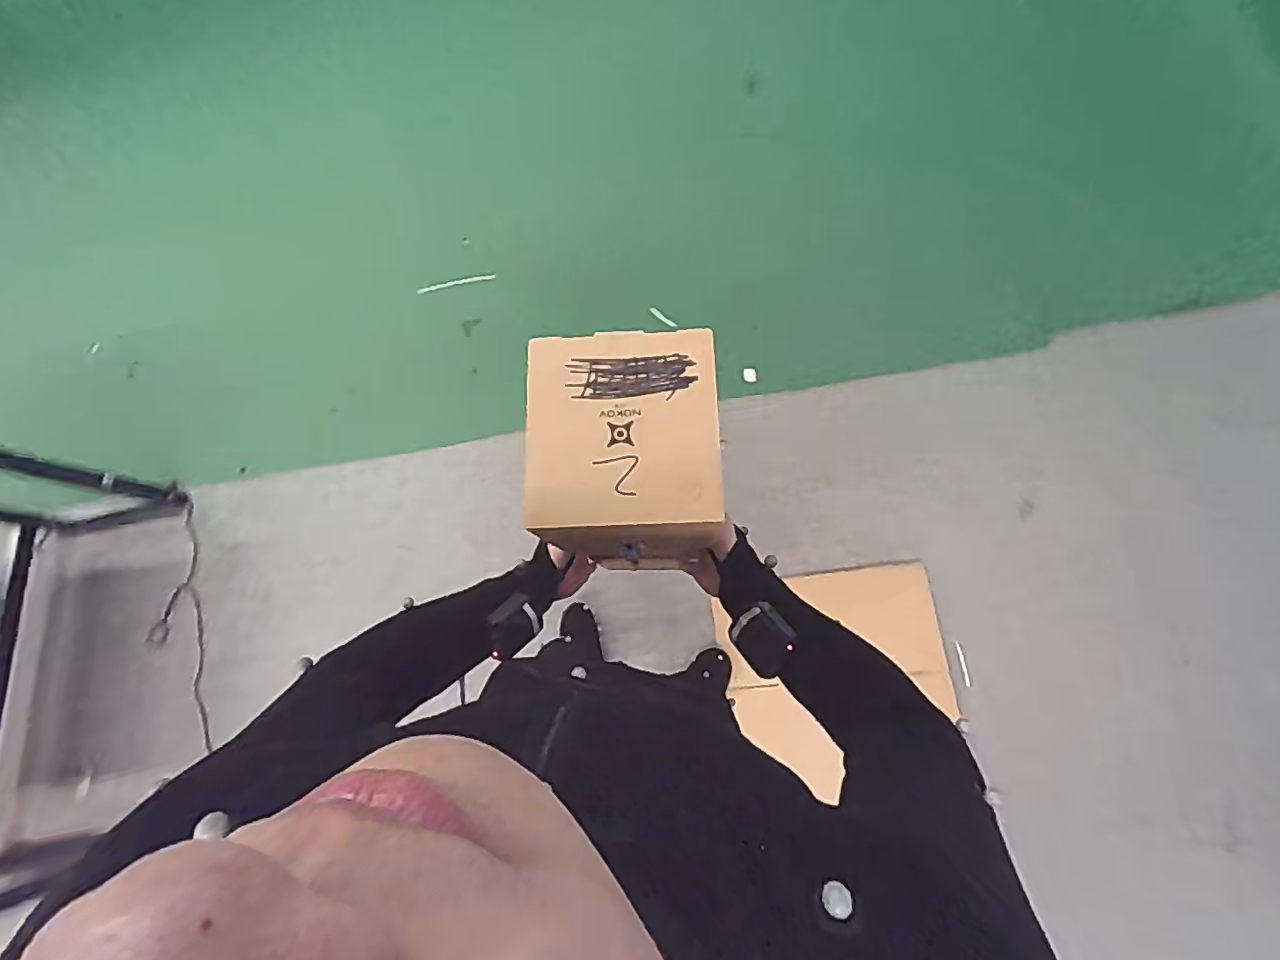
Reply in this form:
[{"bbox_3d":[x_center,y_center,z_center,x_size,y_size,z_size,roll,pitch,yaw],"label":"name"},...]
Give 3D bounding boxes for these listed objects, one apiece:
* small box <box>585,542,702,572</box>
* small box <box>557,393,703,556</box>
[{"bbox_3d":[0.010,0.047,0.850,0.168,0.176,0.179,-1,75,5],"label":"small box"},{"bbox_3d":[-0.003,0.002,0.691,0.168,0.176,0.179,0,75,4],"label":"small box"}]
